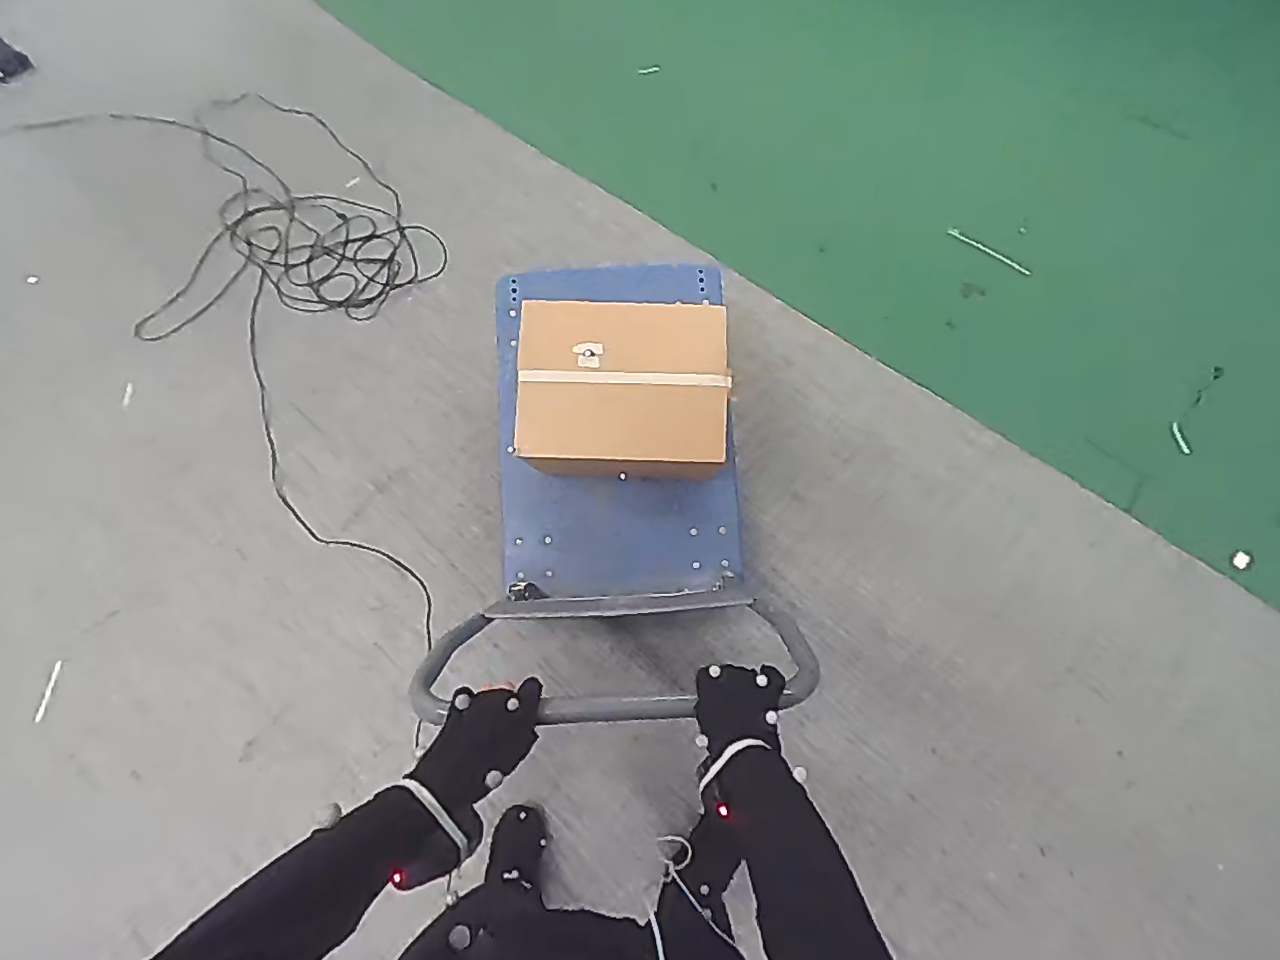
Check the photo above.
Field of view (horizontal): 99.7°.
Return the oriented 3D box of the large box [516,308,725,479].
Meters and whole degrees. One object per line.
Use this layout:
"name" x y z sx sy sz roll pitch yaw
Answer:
"large box" -0.031 -0.168 1.190 0.408 0.320 0.320 2 83 1
